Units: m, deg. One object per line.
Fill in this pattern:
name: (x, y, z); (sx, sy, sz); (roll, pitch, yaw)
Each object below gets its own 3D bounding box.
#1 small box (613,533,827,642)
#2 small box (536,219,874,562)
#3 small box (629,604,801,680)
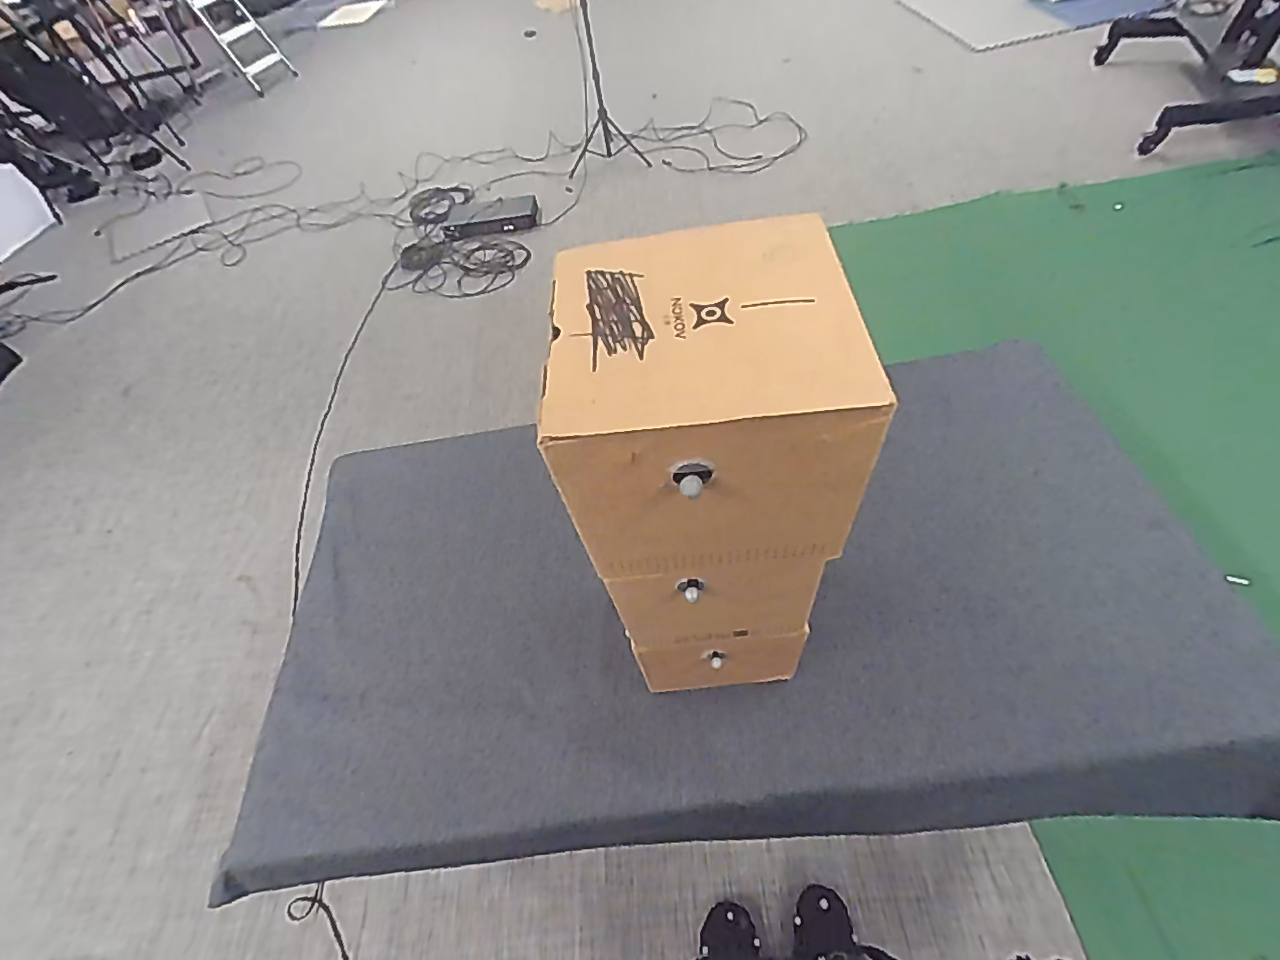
small box: (0.063, 0.039, 0.523); (0.168, 0.176, 0.179); (-8, 55, 3)
small box: (0.041, -0.052, 0.383); (0.179, 0.176, 0.168); (-5, 56, 5)
small box: (0.083, 0.132, 0.652); (0.179, 0.176, 0.168); (-7, 55, 4)
